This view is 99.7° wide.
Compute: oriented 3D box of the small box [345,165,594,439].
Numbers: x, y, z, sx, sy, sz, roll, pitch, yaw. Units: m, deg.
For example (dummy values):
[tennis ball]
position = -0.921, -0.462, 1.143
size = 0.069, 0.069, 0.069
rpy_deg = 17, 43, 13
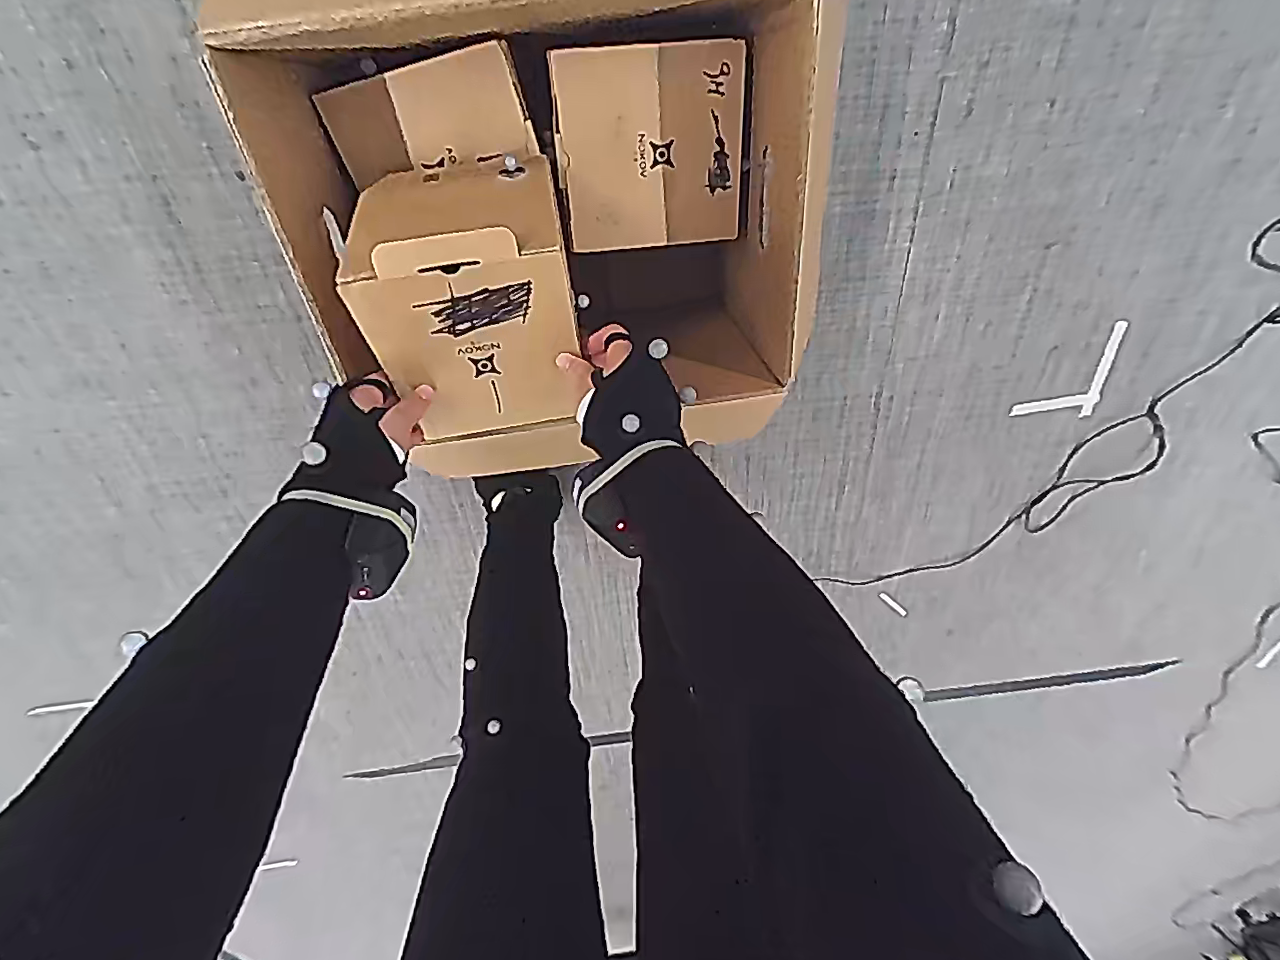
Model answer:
[small box]
position = -0.142, -0.167, 0.499
size = 0.168, 0.176, 0.179
rpy_deg = -10, 143, -4
